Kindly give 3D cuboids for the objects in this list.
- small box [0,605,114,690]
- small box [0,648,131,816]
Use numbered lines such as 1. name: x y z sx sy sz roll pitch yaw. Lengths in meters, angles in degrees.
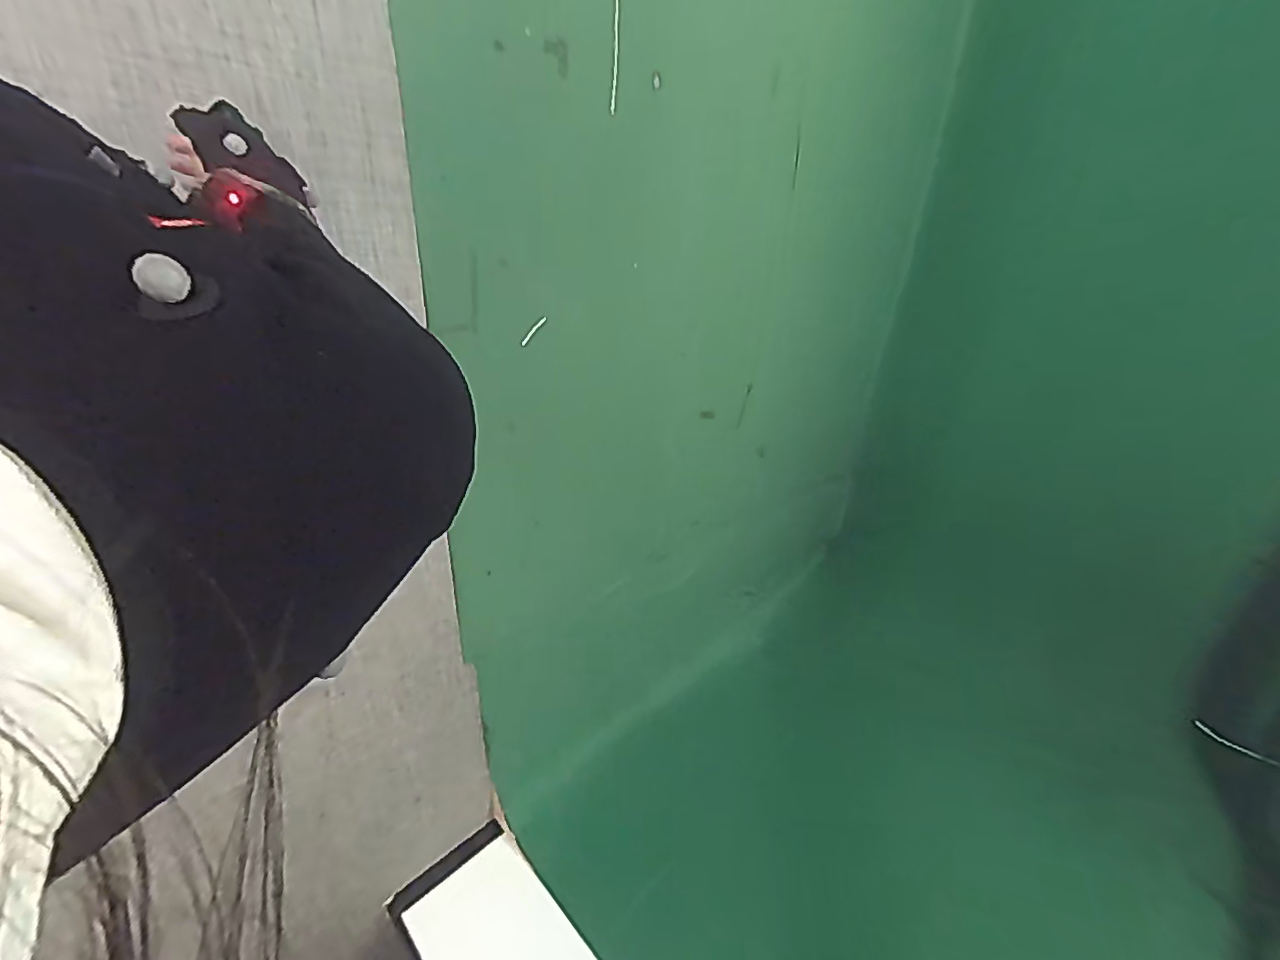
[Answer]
1. small box: -1.179 0.379 1.067 0.179 0.176 0.168 -18 123 -42
2. small box: -1.060 0.442 0.975 0.168 0.176 0.179 -21 123 -43
